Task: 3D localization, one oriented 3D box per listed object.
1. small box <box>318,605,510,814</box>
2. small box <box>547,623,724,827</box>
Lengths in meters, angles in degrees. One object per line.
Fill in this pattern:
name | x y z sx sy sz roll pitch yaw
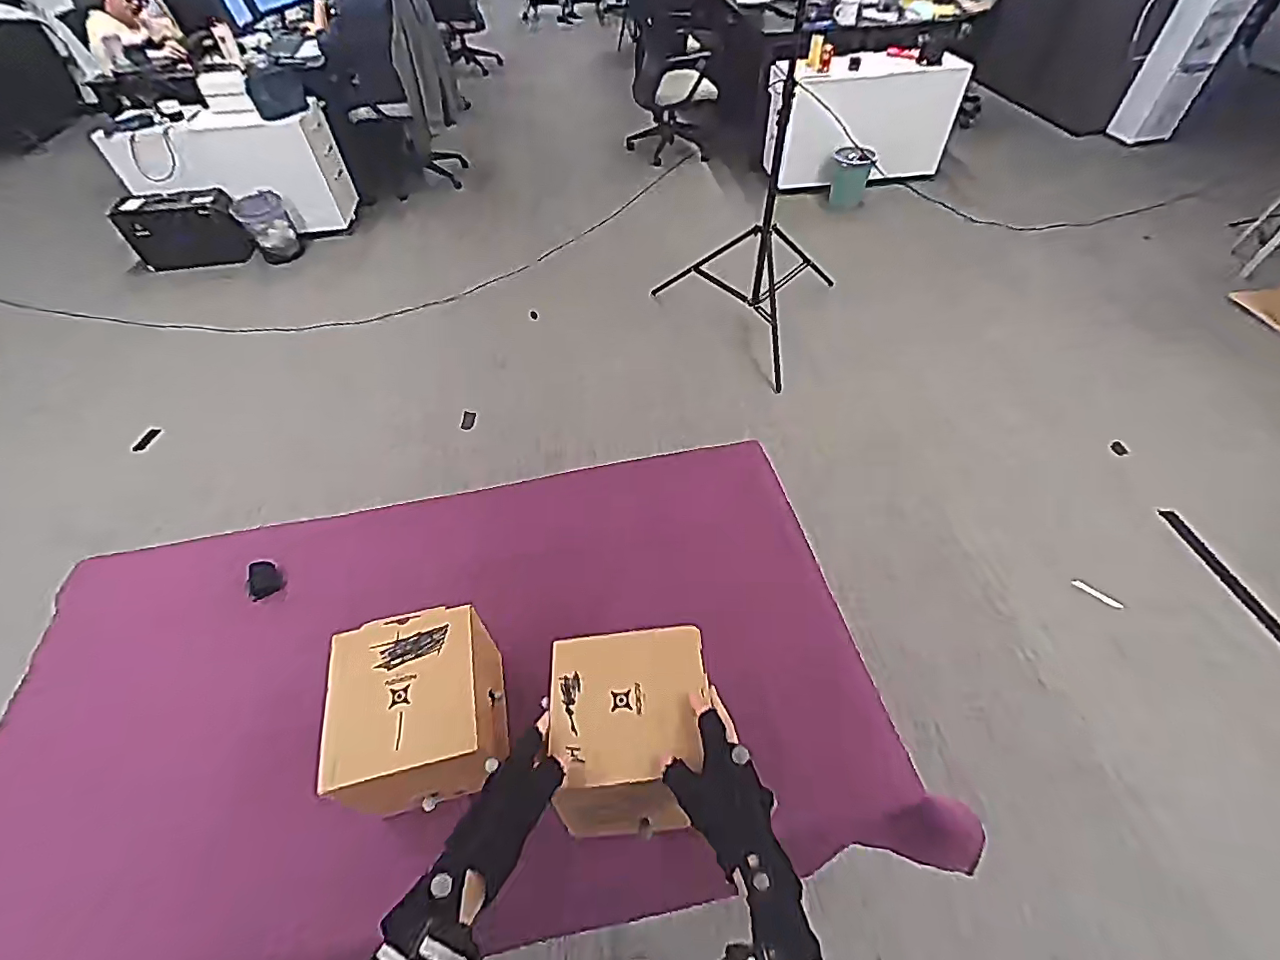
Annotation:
small box | -0.264 0.284 0.669 0.168 0.176 0.179 -12 52 -7
small box | -0.004 0.289 0.637 0.179 0.176 0.168 -5 43 0
